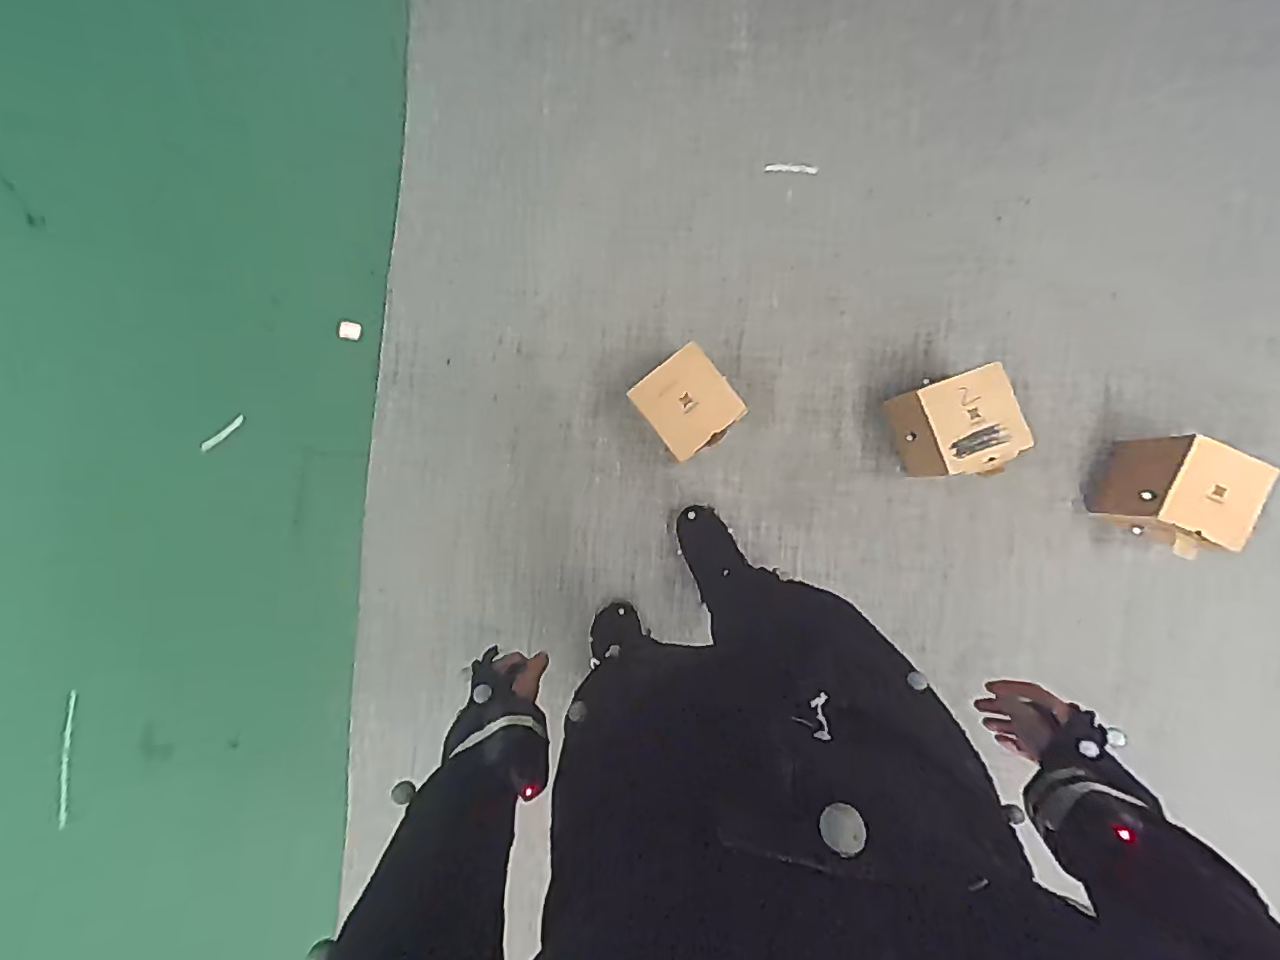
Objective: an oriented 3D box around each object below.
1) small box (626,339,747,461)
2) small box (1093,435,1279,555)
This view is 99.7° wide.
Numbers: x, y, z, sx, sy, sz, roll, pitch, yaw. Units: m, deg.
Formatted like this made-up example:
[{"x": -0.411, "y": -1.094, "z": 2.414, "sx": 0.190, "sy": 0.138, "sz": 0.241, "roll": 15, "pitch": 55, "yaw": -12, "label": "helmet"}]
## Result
[{"x": 0.092, "y": -0.153, "z": 1.101, "sx": 0.168, "sy": 0.176, "sz": 0.179, "roll": -38, "pitch": 88, "yaw": 1, "label": "small box"}, {"x": 1.064, "y": 0.026, "z": 1.072, "sx": 0.168, "sy": 0.176, "sz": 0.179, "roll": 25, "pitch": 92, "yaw": 1, "label": "small box"}]
